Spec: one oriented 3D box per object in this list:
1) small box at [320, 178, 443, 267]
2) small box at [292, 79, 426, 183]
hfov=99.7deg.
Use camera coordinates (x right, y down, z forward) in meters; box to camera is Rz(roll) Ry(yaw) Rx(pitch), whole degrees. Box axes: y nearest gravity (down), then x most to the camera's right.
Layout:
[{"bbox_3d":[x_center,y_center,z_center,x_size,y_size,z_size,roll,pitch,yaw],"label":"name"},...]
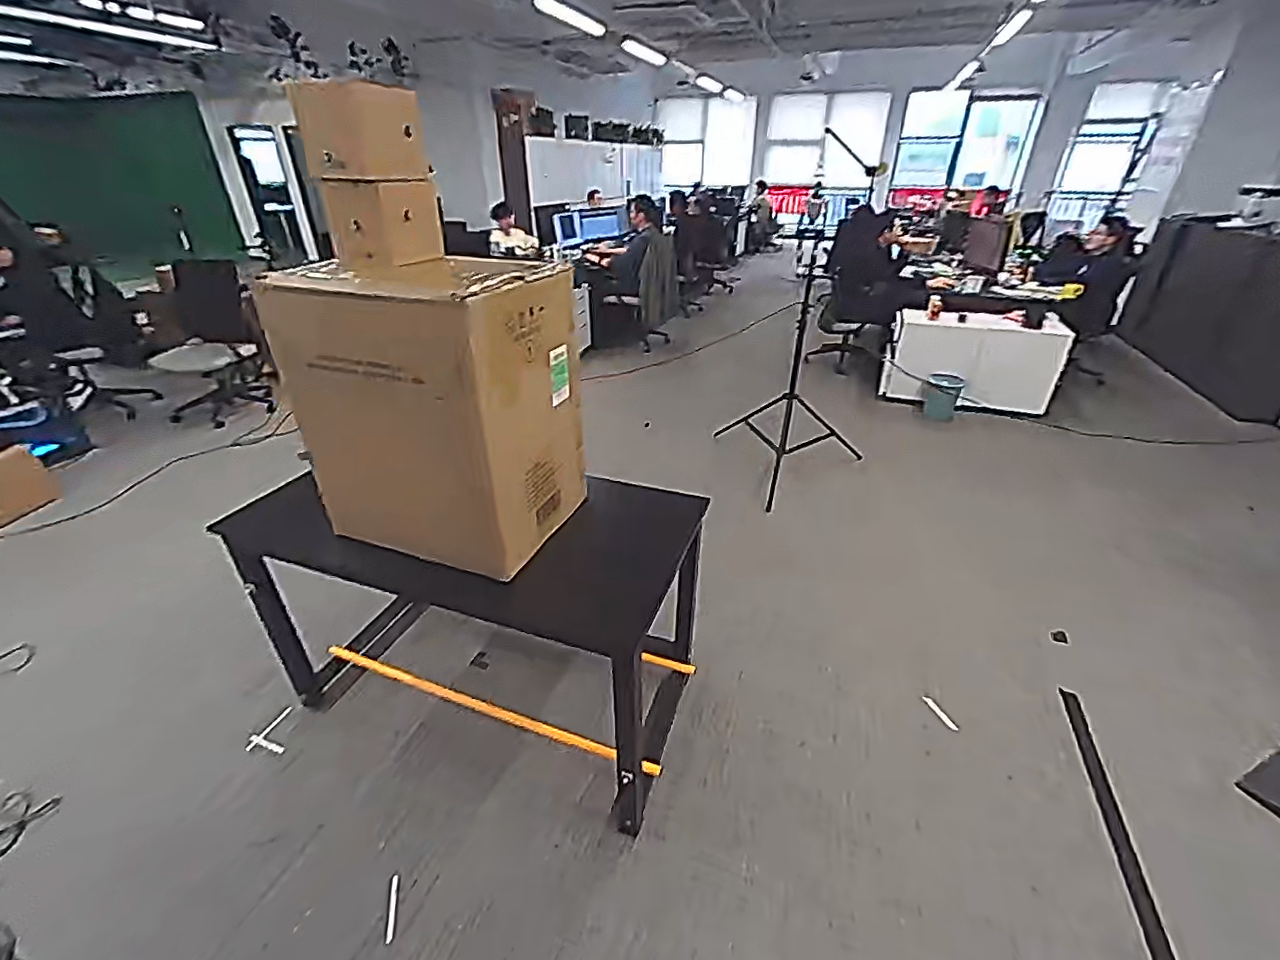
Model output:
[{"bbox_3d":[-0.571,-0.585,1.223,0.168,0.176,0.179,12,32,17],"label":"small box"},{"bbox_3d":[-0.572,-0.719,1.128,0.168,0.176,0.179,12,32,20],"label":"small box"}]
